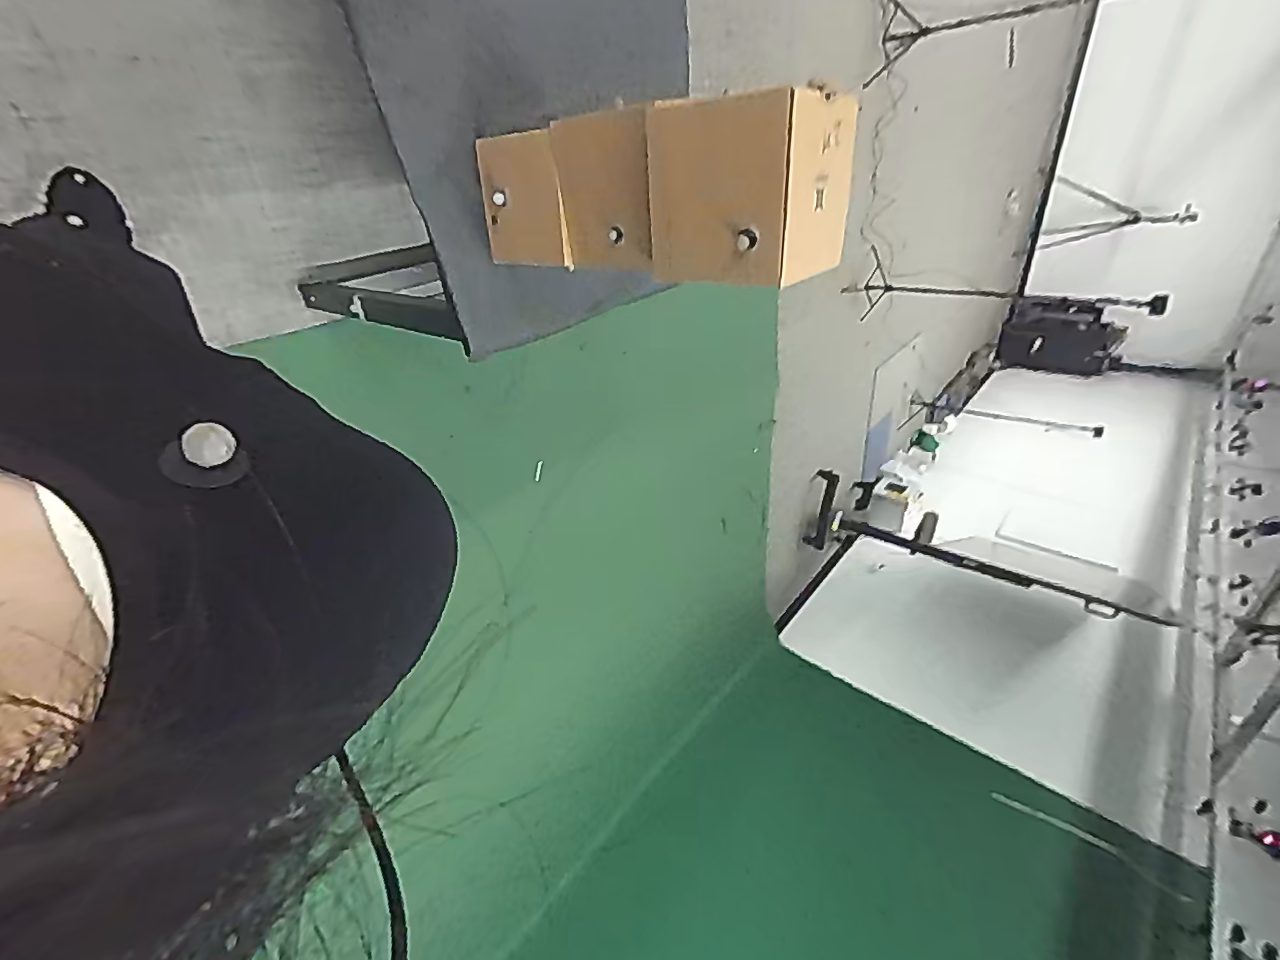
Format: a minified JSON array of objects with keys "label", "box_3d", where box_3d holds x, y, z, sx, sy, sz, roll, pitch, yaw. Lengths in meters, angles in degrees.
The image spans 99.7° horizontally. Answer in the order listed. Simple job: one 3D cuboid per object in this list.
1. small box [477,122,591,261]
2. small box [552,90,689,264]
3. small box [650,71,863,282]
[{"label":"small box","box_3d":[-0.113,-0.423,0.806,0.179,0.176,0.168,-29,126,-43]},{"label":"small box","box_3d":[0.011,-0.391,0.706,0.168,0.176,0.179,-38,131,-39]},{"label":"small box","box_3d":[0.126,-0.328,0.603,0.168,0.176,0.179,-34,130,-42]}]
